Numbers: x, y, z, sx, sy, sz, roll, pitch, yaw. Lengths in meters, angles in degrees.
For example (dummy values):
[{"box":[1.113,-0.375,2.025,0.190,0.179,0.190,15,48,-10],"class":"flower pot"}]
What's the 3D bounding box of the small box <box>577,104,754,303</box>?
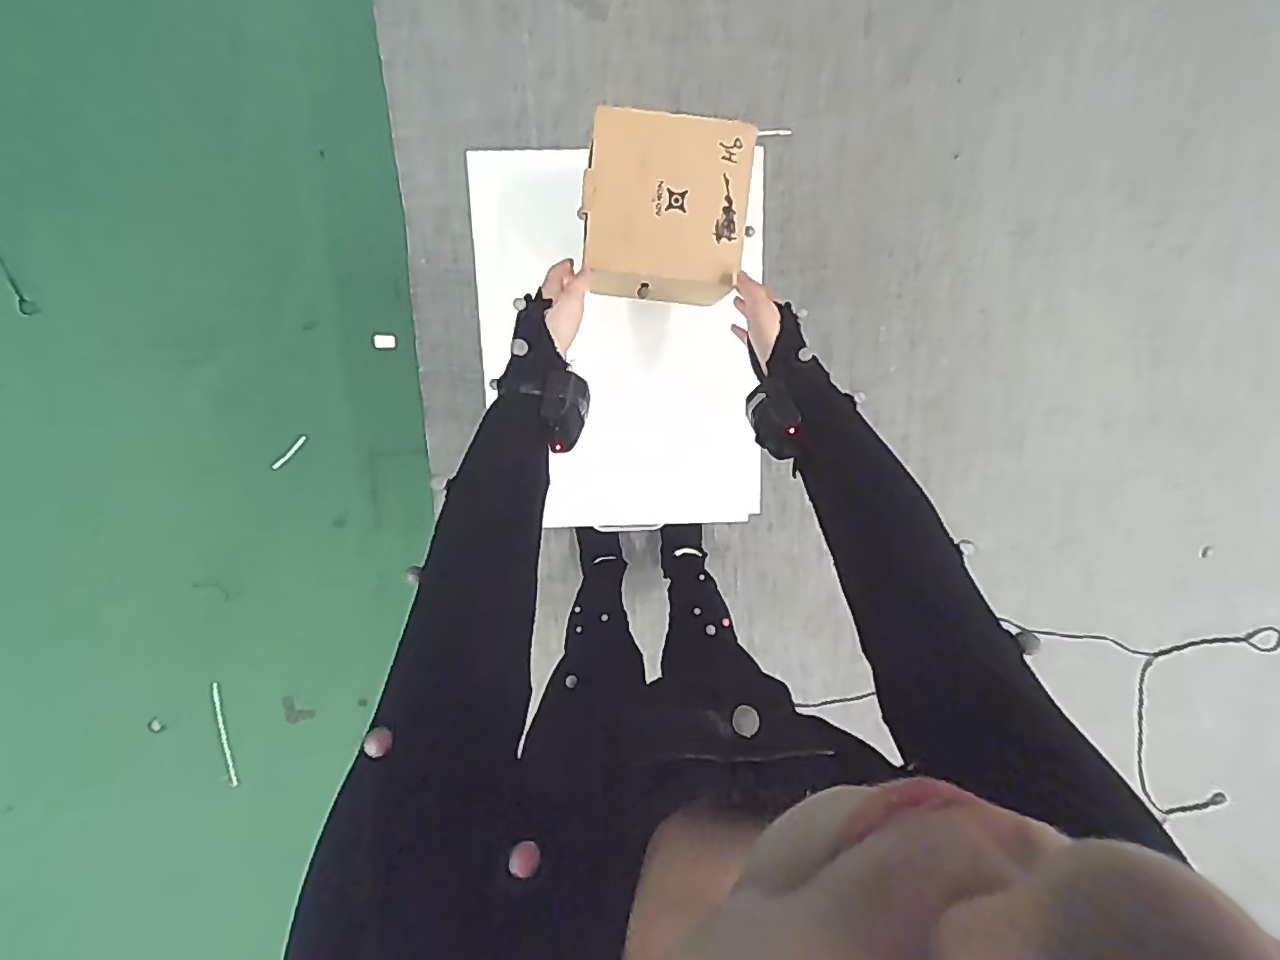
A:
[{"box":[0.024,-0.317,0.656,0.179,0.176,0.168,5,100,-3],"class":"small box"}]
